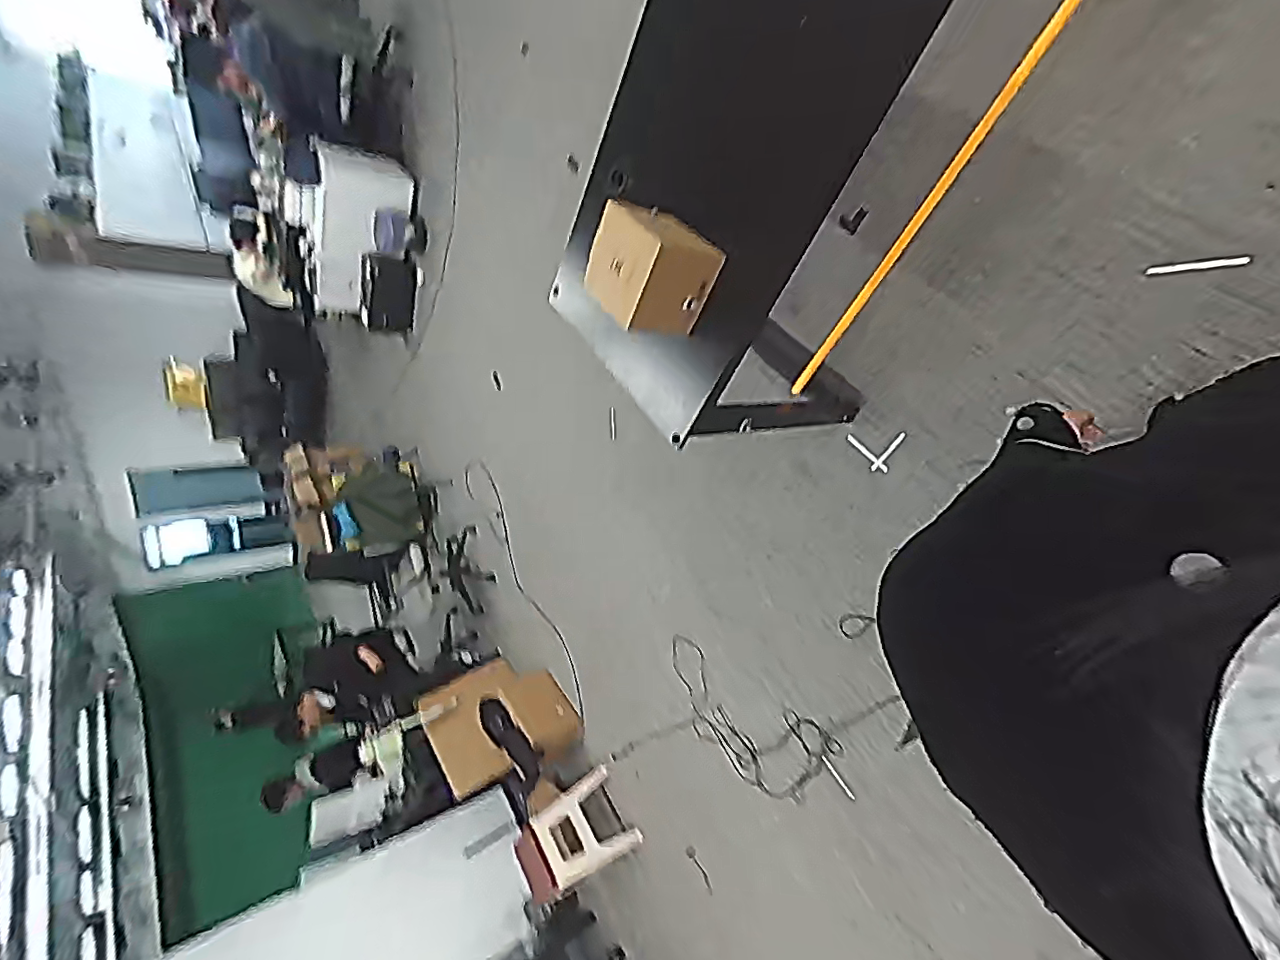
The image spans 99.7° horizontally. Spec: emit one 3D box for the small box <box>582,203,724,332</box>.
[{"bbox_3d":[0.022,-0.392,1.022,0.179,0.176,0.168,50,131,31],"label":"small box"}]
